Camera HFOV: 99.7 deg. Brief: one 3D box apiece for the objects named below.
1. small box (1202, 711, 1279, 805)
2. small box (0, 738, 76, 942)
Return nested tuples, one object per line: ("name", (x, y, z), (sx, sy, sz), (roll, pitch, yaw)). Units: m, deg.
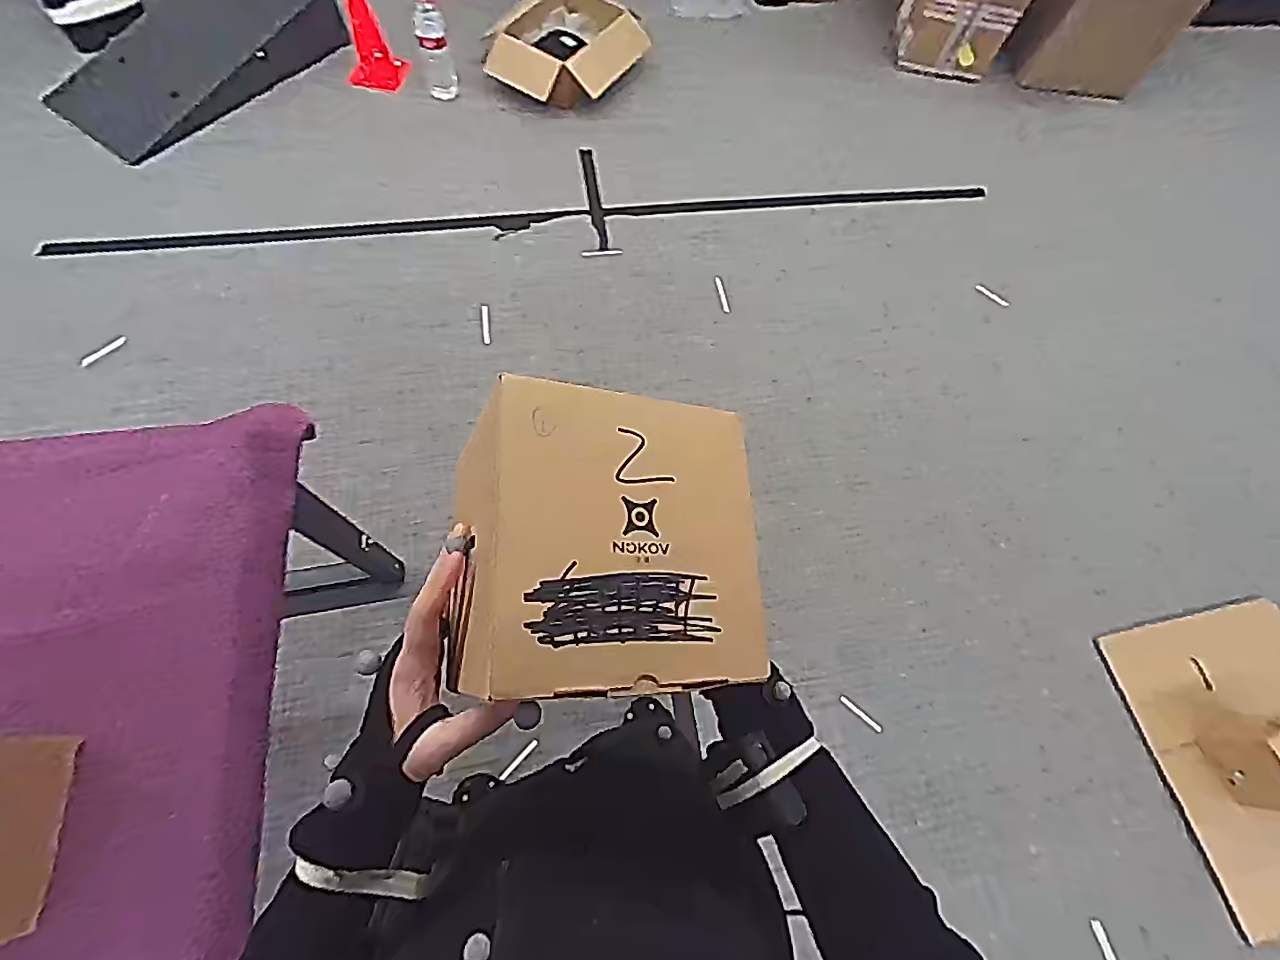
("small box", (1.556, 0.671, 1.315), (0.179, 0.176, 0.168), (-17, 67, -11))
("small box", (-0.668, 0.336, 0.475), (0.168, 0.176, 0.179), (-5, 66, -8))
